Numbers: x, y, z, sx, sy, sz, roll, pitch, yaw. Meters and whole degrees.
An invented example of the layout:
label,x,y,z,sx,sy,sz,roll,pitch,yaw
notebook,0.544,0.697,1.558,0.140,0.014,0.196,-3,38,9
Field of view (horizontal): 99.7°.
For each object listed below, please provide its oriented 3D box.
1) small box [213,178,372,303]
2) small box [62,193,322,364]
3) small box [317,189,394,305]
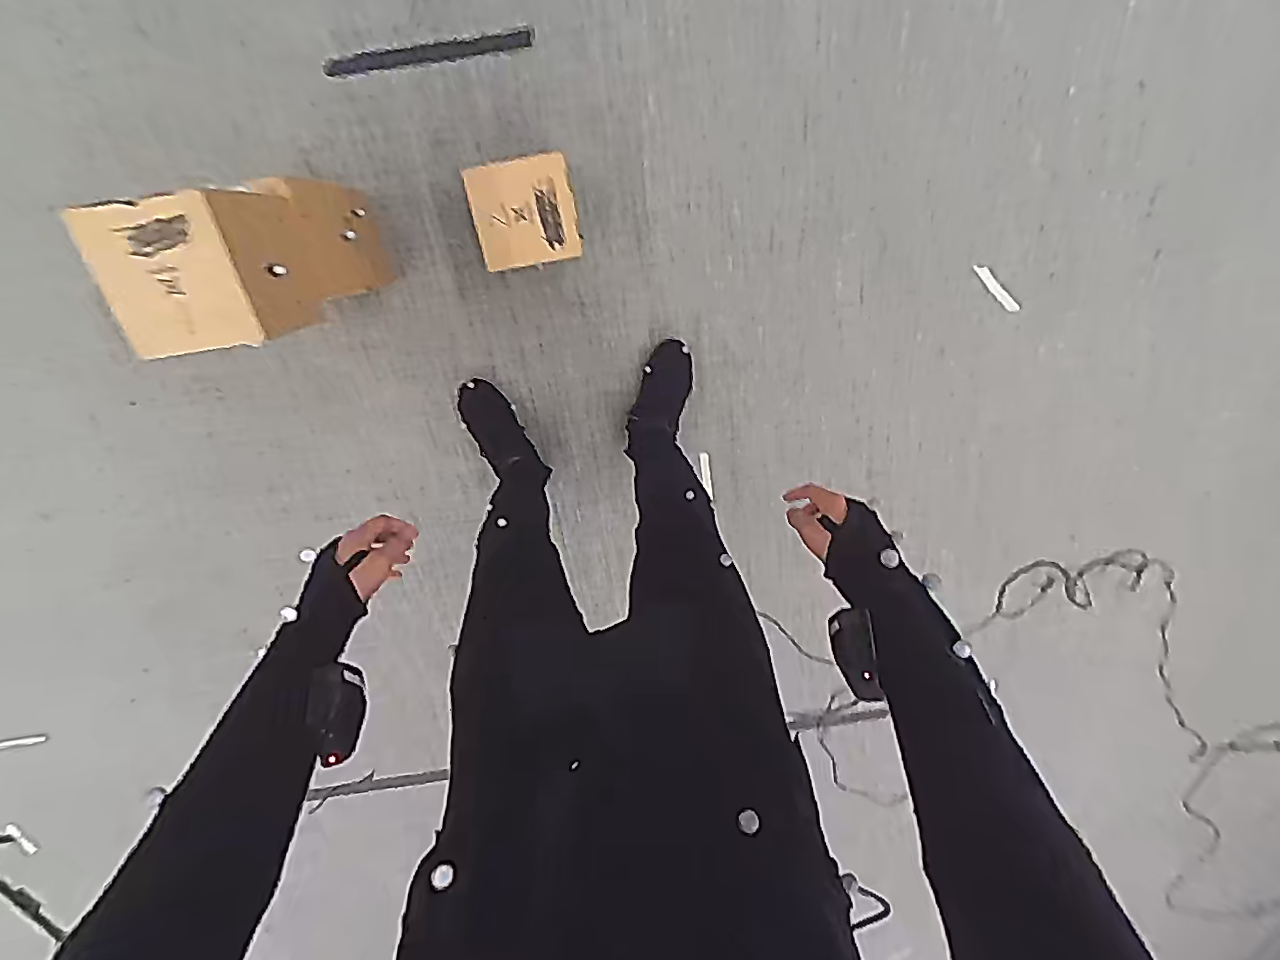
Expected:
label,x,y,z,sx,sy,sz,roll,pitch,yaw
small box,-0.565,-0.360,0.853,0.179,0.176,0.168,-12,115,1
small box,-0.565,-0.267,0.715,0.168,0.176,0.179,-9,116,1
small box,-0.590,-0.424,1.002,0.168,0.176,0.179,-11,116,1
